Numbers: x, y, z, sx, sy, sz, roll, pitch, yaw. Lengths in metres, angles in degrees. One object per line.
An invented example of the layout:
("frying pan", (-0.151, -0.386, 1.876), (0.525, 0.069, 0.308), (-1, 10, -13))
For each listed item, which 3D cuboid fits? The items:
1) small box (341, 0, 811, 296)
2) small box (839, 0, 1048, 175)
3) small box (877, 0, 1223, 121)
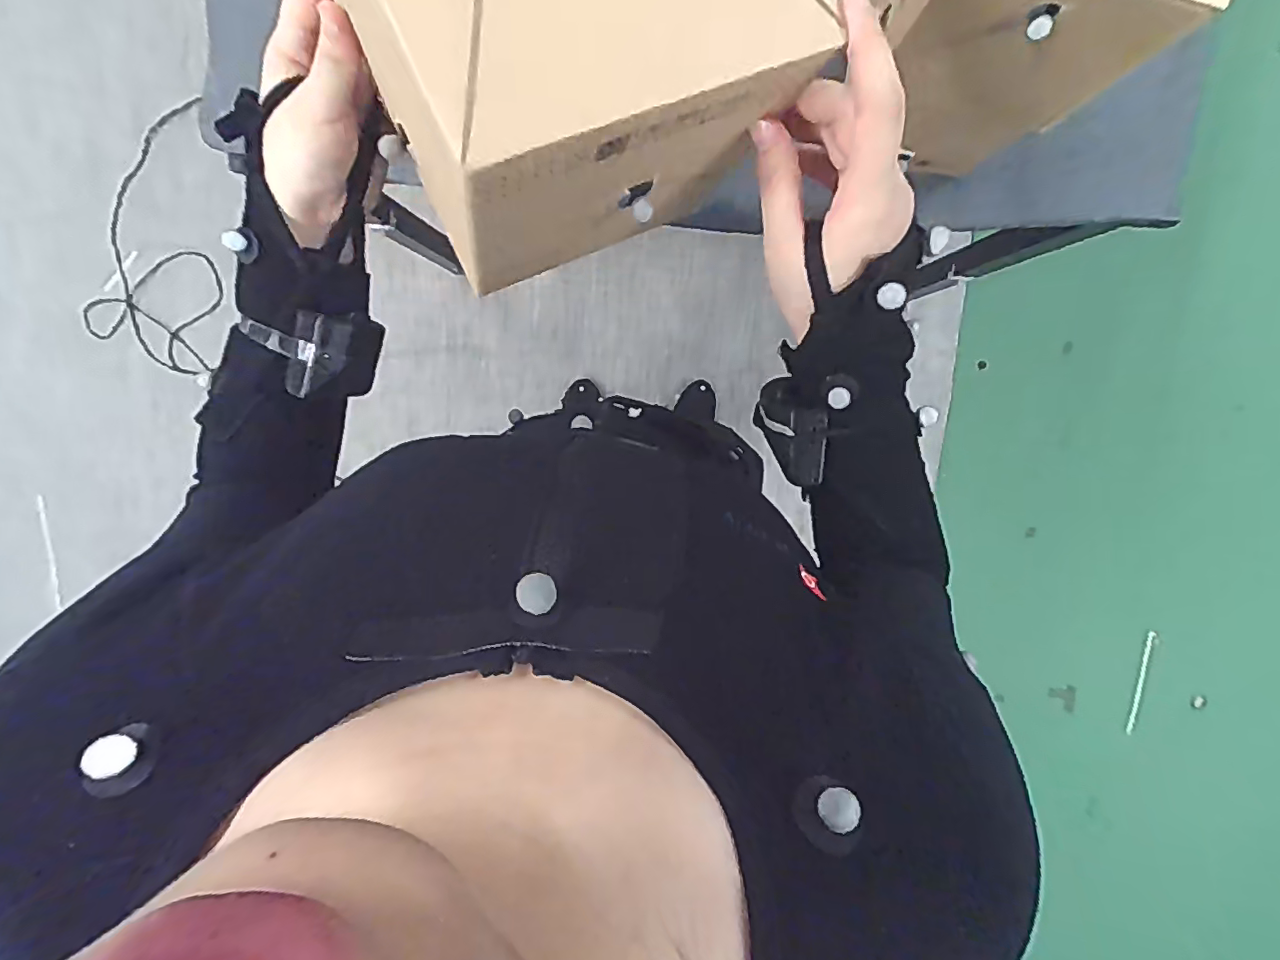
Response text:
("small box", (-0.044, -0.220, 0.261), (0.168, 0.176, 0.179), (-27, 100, -12))
("small box", (0.327, -0.456, 0.576), (0.168, 0.176, 0.179), (5, 100, 2))
("small box", (0.320, -0.416, 0.418), (0.179, 0.176, 0.168), (16, 99, 1))
